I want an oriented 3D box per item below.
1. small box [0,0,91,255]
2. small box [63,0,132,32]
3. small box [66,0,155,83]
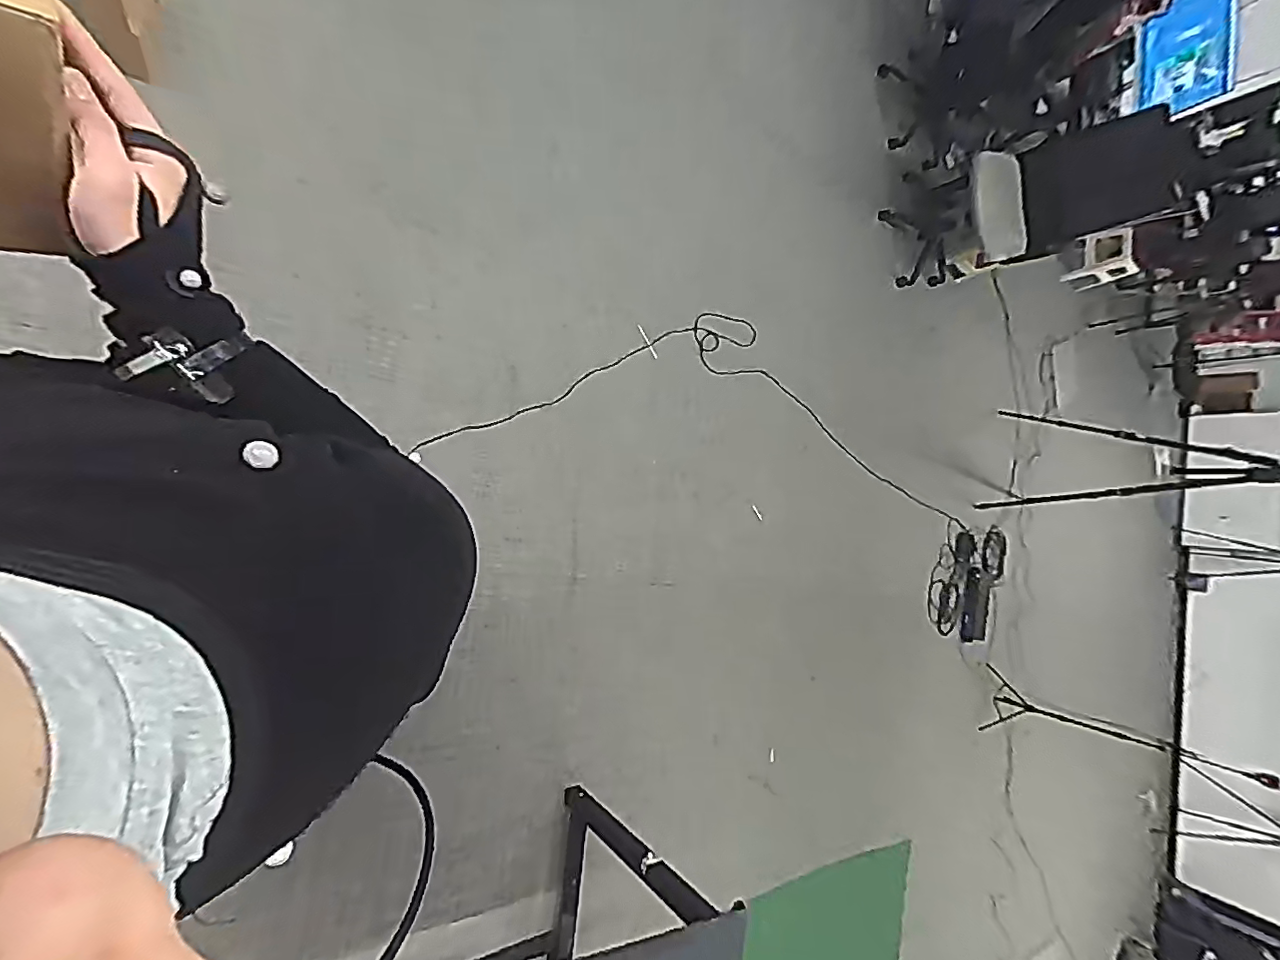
[{"bbox_3d":[-0.425,-0.243,0.278,0.179,0.176,0.168,-15,75,-47],"label":"small box"},{"bbox_3d":[-0.994,-0.944,0.927,0.168,0.176,0.179,9,86,-35],"label":"small box"},{"bbox_3d":[-1.084,-0.948,1.065,0.168,0.176,0.179,8,87,-35],"label":"small box"}]
